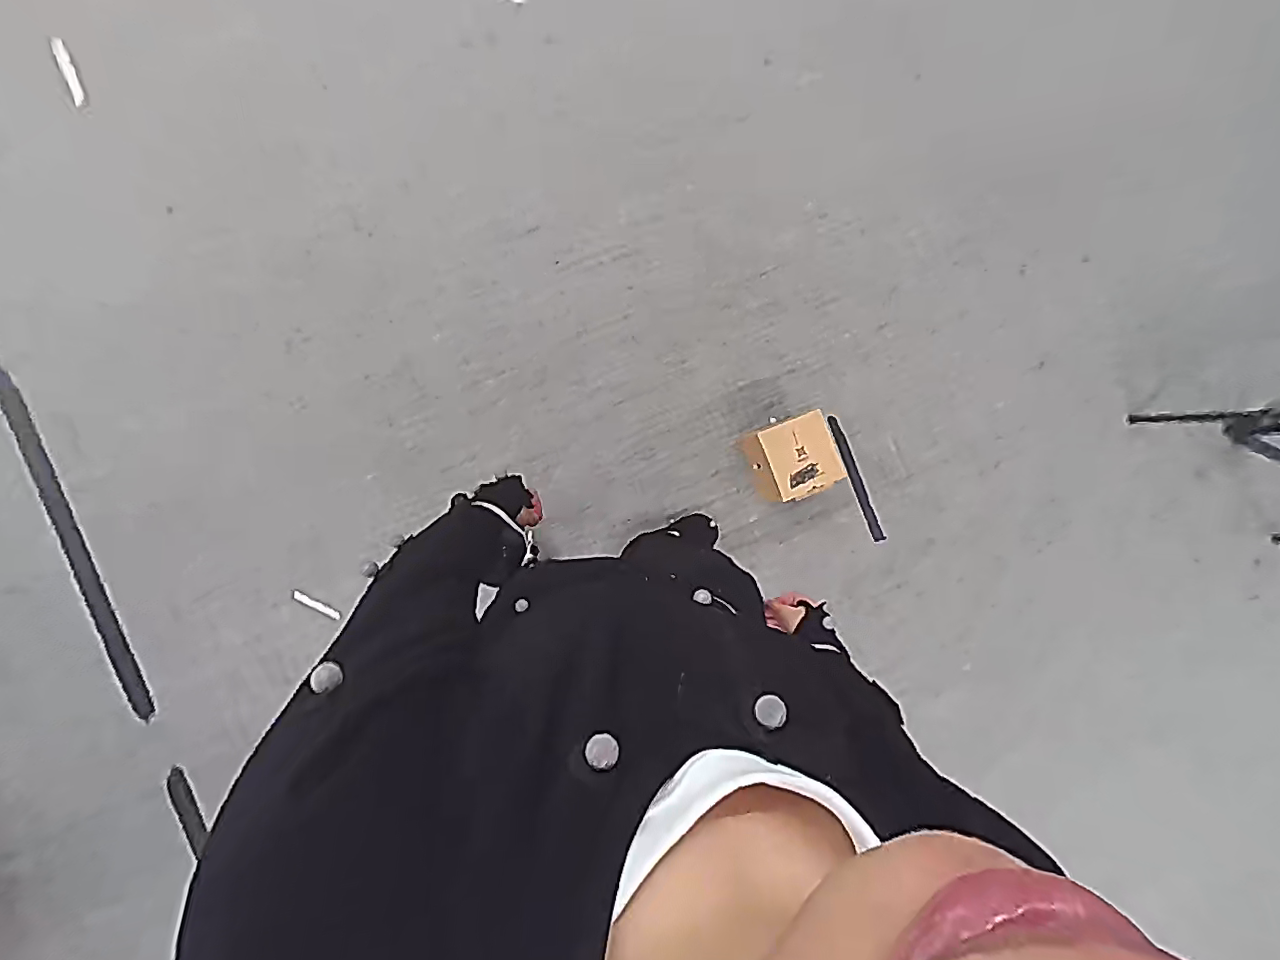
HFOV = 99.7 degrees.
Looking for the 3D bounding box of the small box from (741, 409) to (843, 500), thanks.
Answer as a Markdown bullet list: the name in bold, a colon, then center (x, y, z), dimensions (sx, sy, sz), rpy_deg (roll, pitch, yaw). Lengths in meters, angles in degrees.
- **small box**: center (0.373, -0.061, 1.351), dimensions (0.168, 0.176, 0.179), rpy_deg (-21, 91, -5)
